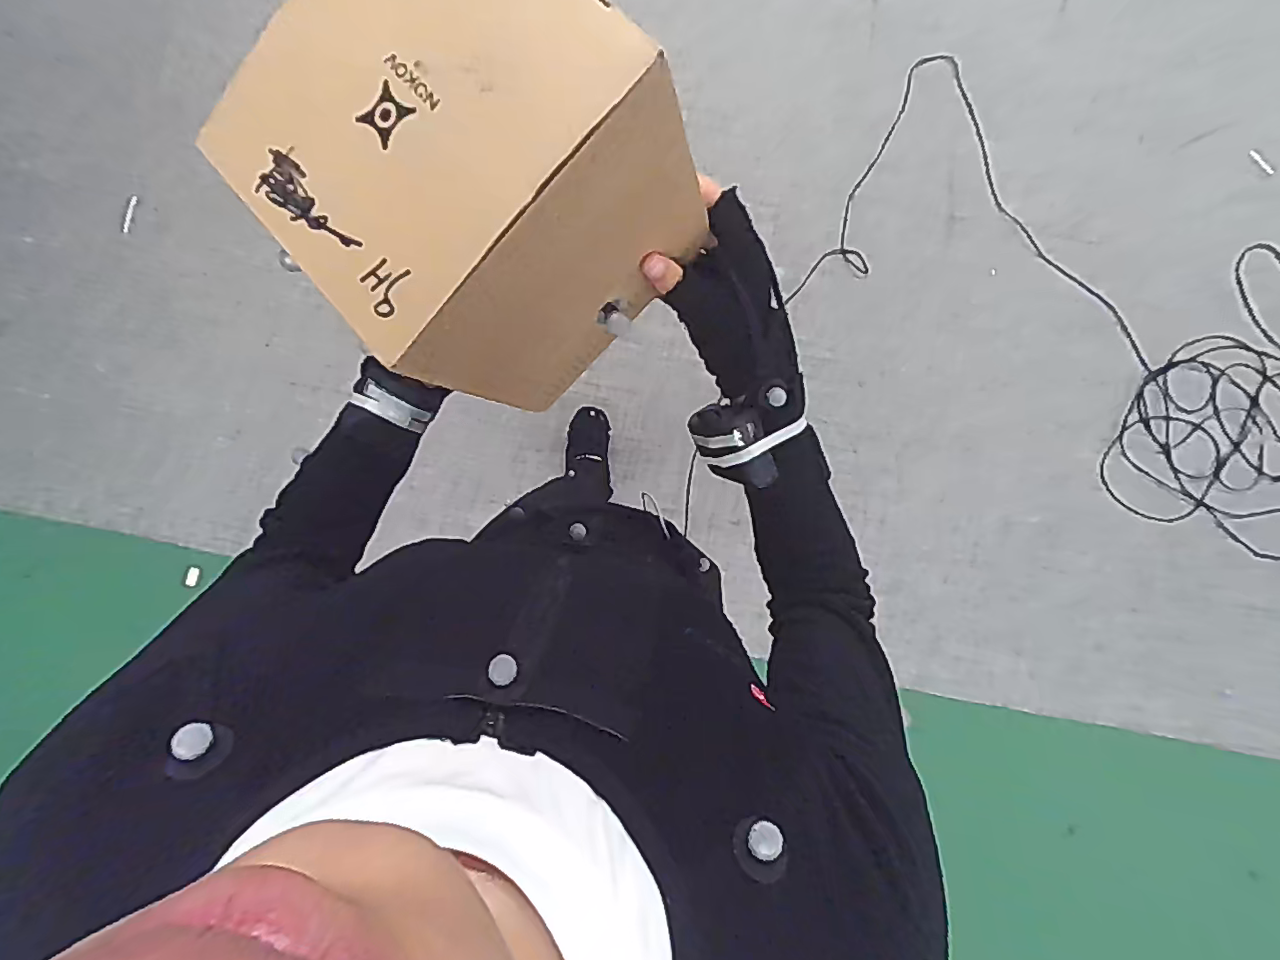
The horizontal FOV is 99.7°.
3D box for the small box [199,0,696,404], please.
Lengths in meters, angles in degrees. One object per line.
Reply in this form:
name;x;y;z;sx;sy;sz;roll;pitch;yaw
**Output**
small box;-0.082;-0.168;0.314;0.179;0.176;0.168;-44;80;10
